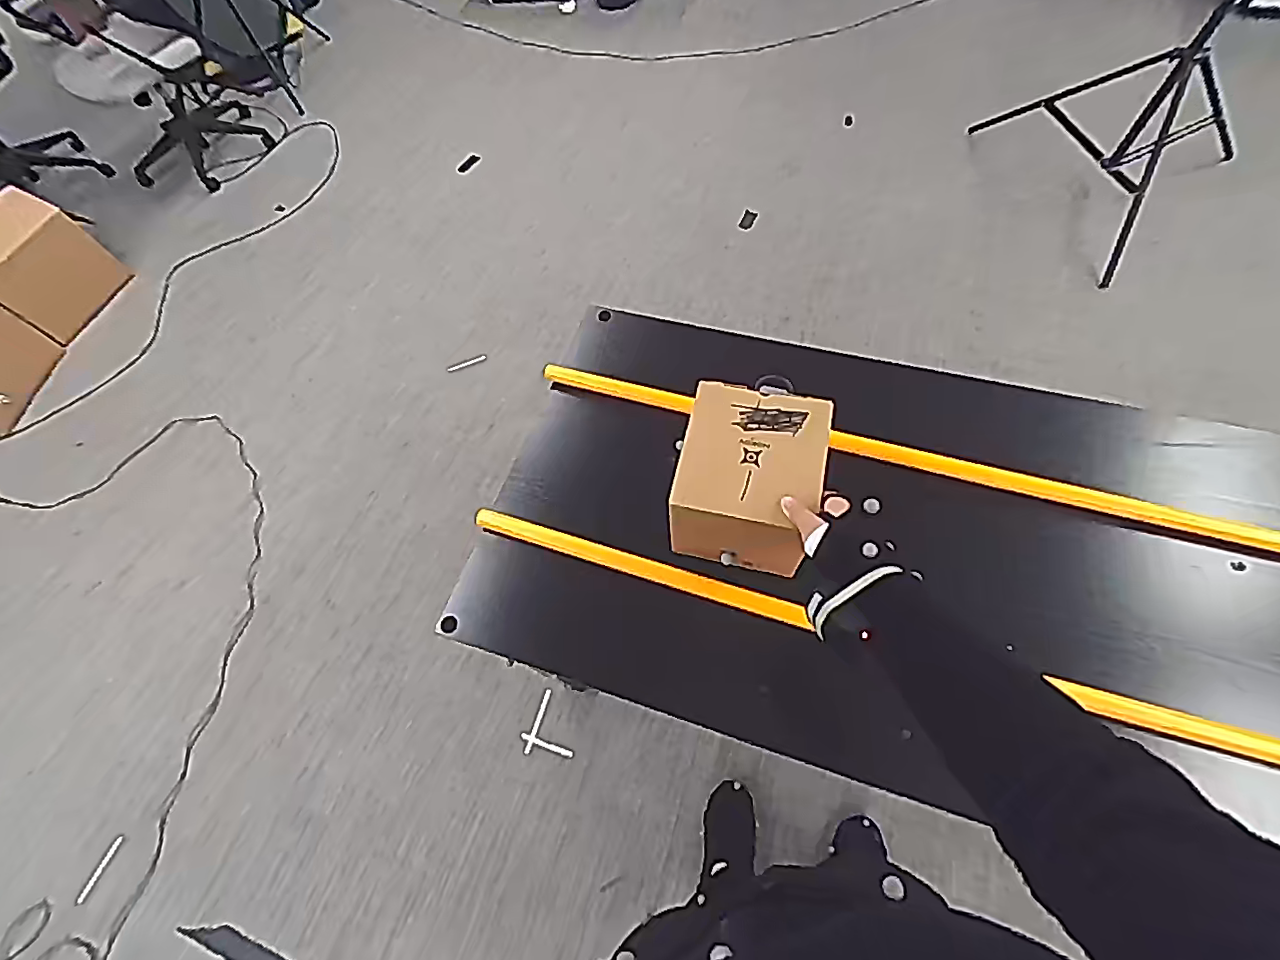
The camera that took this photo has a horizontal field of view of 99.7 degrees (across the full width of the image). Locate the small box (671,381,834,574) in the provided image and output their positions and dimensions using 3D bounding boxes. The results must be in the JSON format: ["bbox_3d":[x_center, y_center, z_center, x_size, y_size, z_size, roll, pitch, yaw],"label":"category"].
[{"bbox_3d":[0.140,0.002,0.702,0.168,0.176,0.179,11,66,11],"label":"small box"}]
